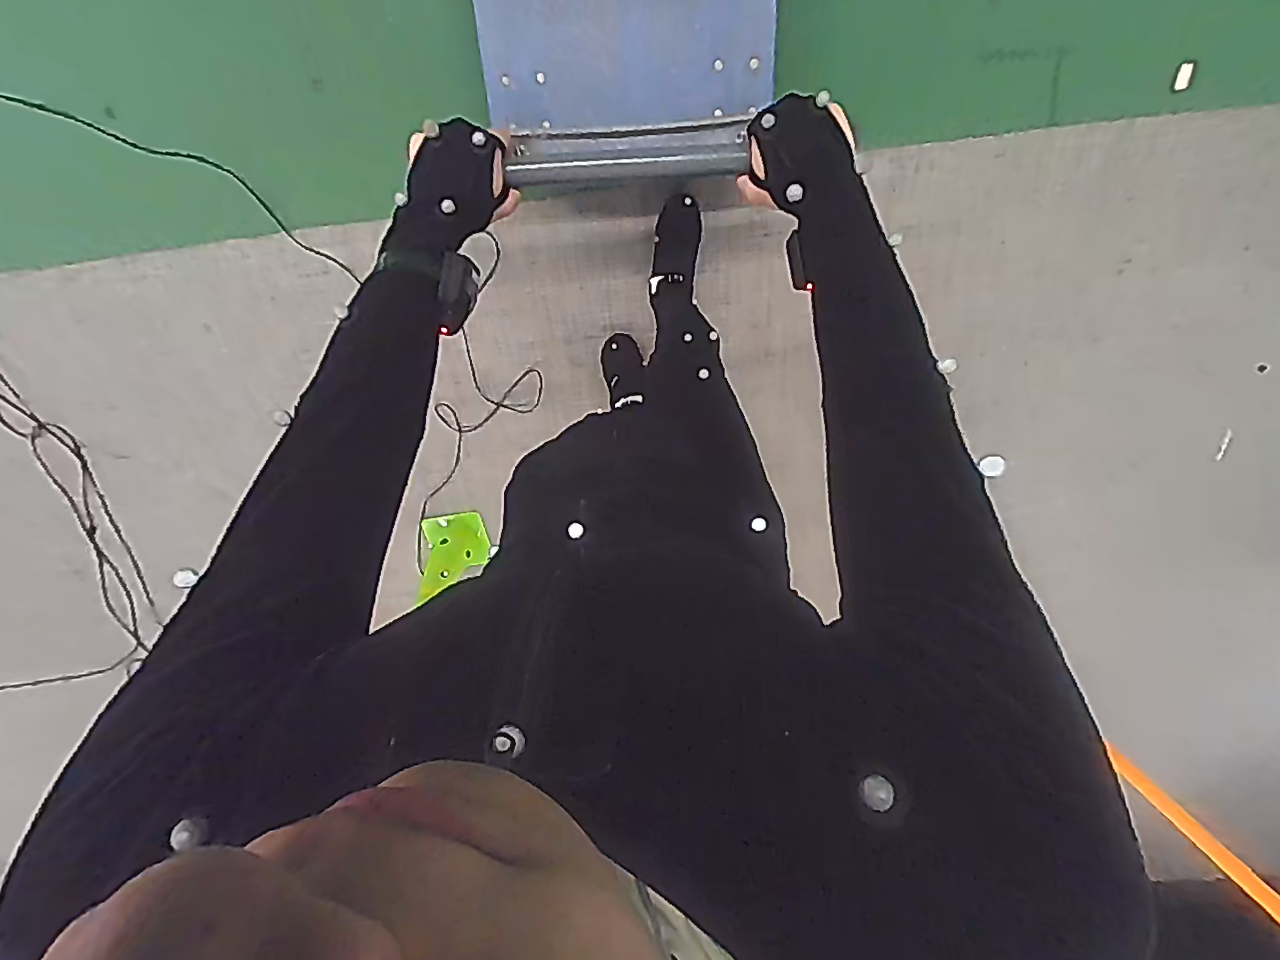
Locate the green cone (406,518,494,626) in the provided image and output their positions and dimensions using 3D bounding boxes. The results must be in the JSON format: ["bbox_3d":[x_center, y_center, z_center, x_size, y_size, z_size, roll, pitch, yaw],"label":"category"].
[{"bbox_3d":[-0.601,0.295,1.618,0.202,0.368,0.200,-9,116,7],"label":"green cone"}]
